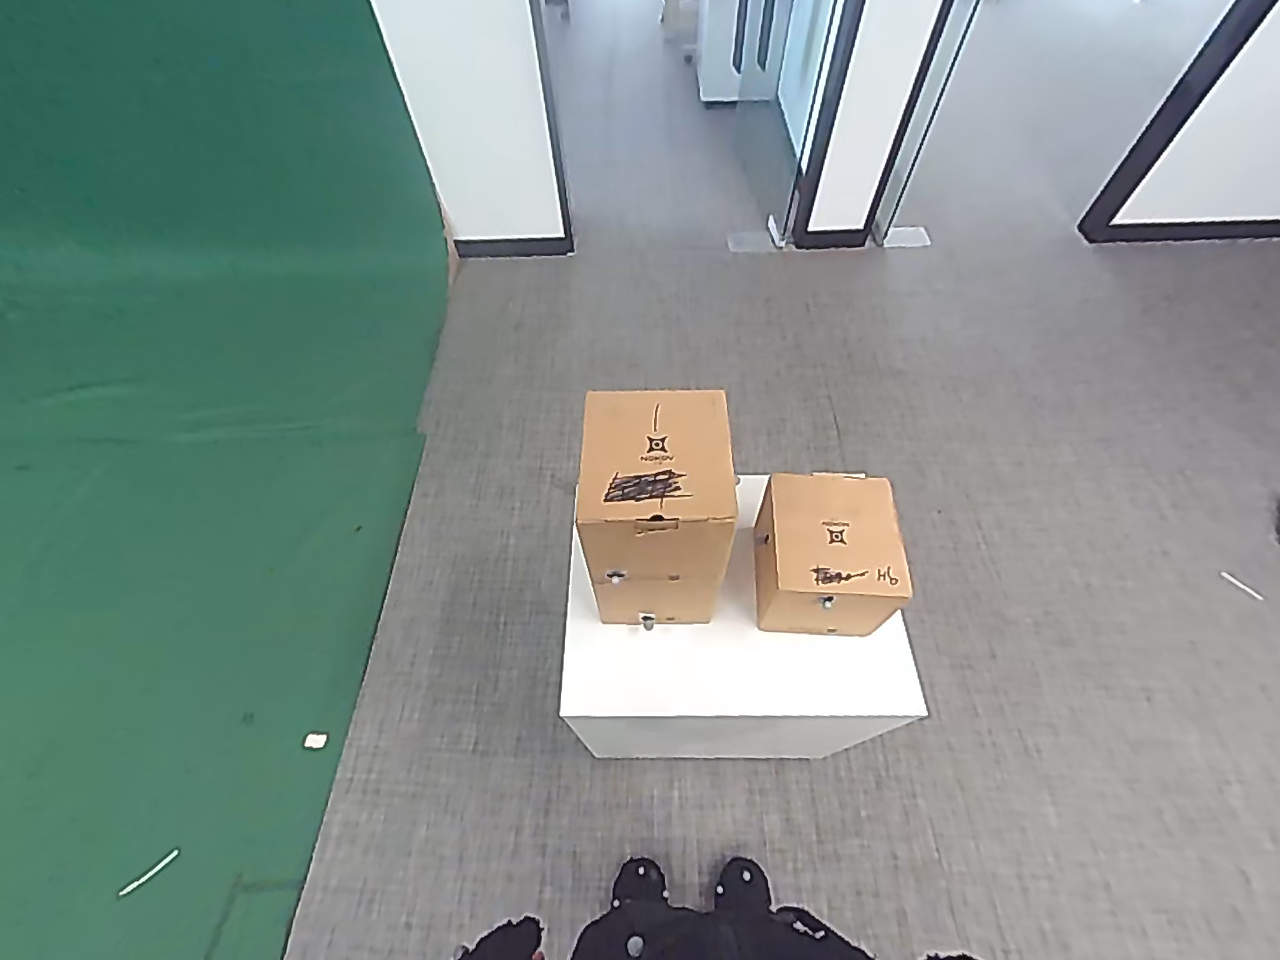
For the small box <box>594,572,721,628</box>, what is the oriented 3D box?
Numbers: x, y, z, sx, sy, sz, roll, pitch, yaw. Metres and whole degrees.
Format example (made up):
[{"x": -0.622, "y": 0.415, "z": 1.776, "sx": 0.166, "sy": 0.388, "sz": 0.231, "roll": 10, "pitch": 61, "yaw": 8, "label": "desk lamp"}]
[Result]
[{"x": 0.024, "y": 0.108, "z": 0.801, "sx": 0.168, "sy": 0.176, "sz": 0.179, "roll": -2, "pitch": 59, "yaw": 1, "label": "small box"}]

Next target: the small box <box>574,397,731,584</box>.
[{"x": 0.018, "y": 0.019, "z": 0.663, "sx": 0.168, "sy": 0.176, "sz": 0.179, "roll": 0, "pitch": 56, "yaw": 2, "label": "small box"}]

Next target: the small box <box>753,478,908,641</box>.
[{"x": 0.260, "y": 0.117, "z": 0.785, "sx": 0.168, "sy": 0.176, "sz": 0.179, "roll": 3, "pitch": 57, "yaw": 4, "label": "small box"}]
